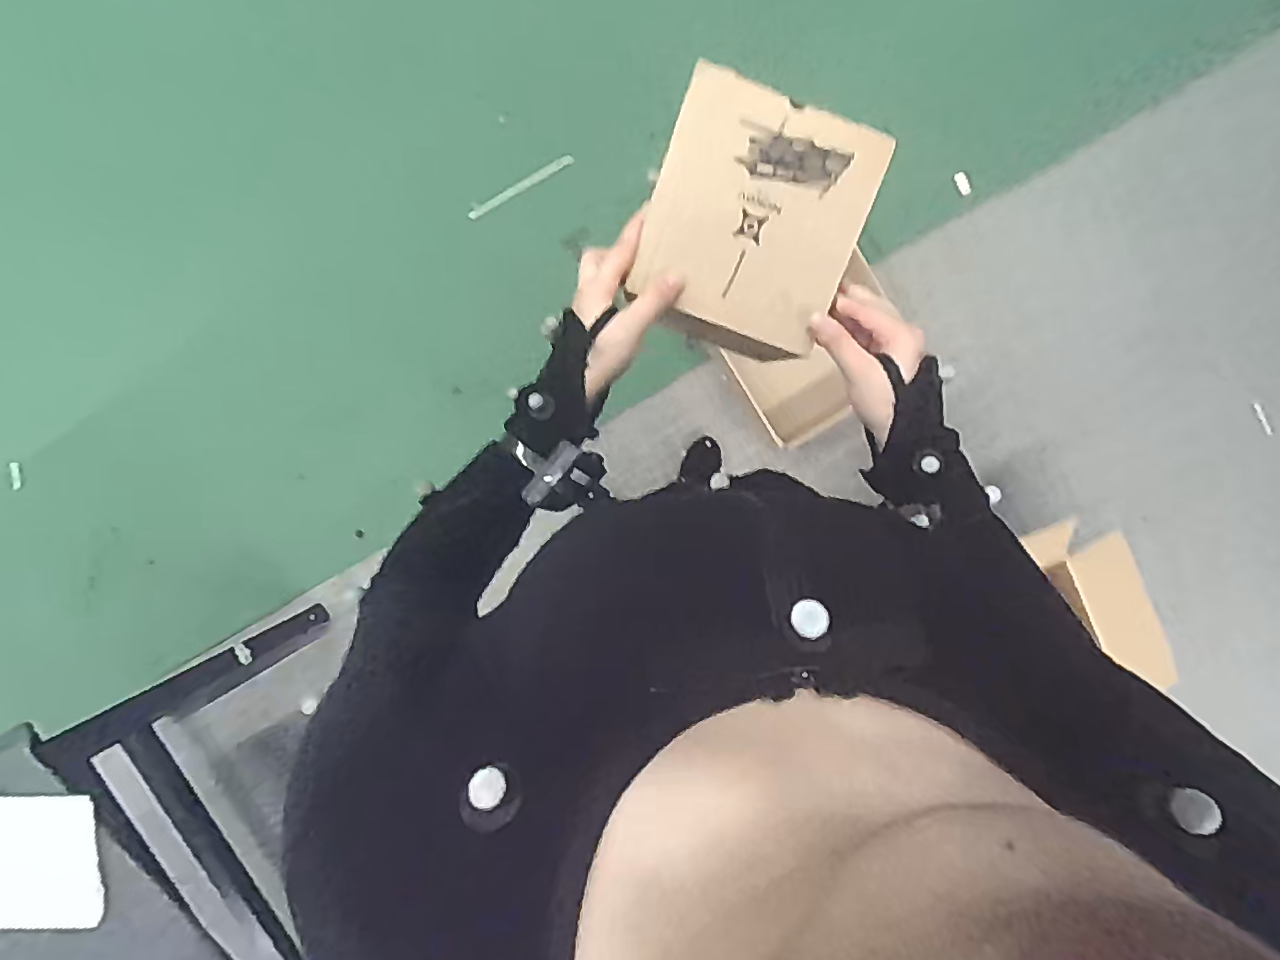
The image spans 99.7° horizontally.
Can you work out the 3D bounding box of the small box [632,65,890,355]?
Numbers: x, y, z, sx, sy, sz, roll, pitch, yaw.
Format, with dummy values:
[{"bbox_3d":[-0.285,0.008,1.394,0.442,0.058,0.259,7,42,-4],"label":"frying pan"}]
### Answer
[{"bbox_3d":[0.094,-0.229,0.512,0.168,0.176,0.179,18,100,-2],"label":"small box"}]
